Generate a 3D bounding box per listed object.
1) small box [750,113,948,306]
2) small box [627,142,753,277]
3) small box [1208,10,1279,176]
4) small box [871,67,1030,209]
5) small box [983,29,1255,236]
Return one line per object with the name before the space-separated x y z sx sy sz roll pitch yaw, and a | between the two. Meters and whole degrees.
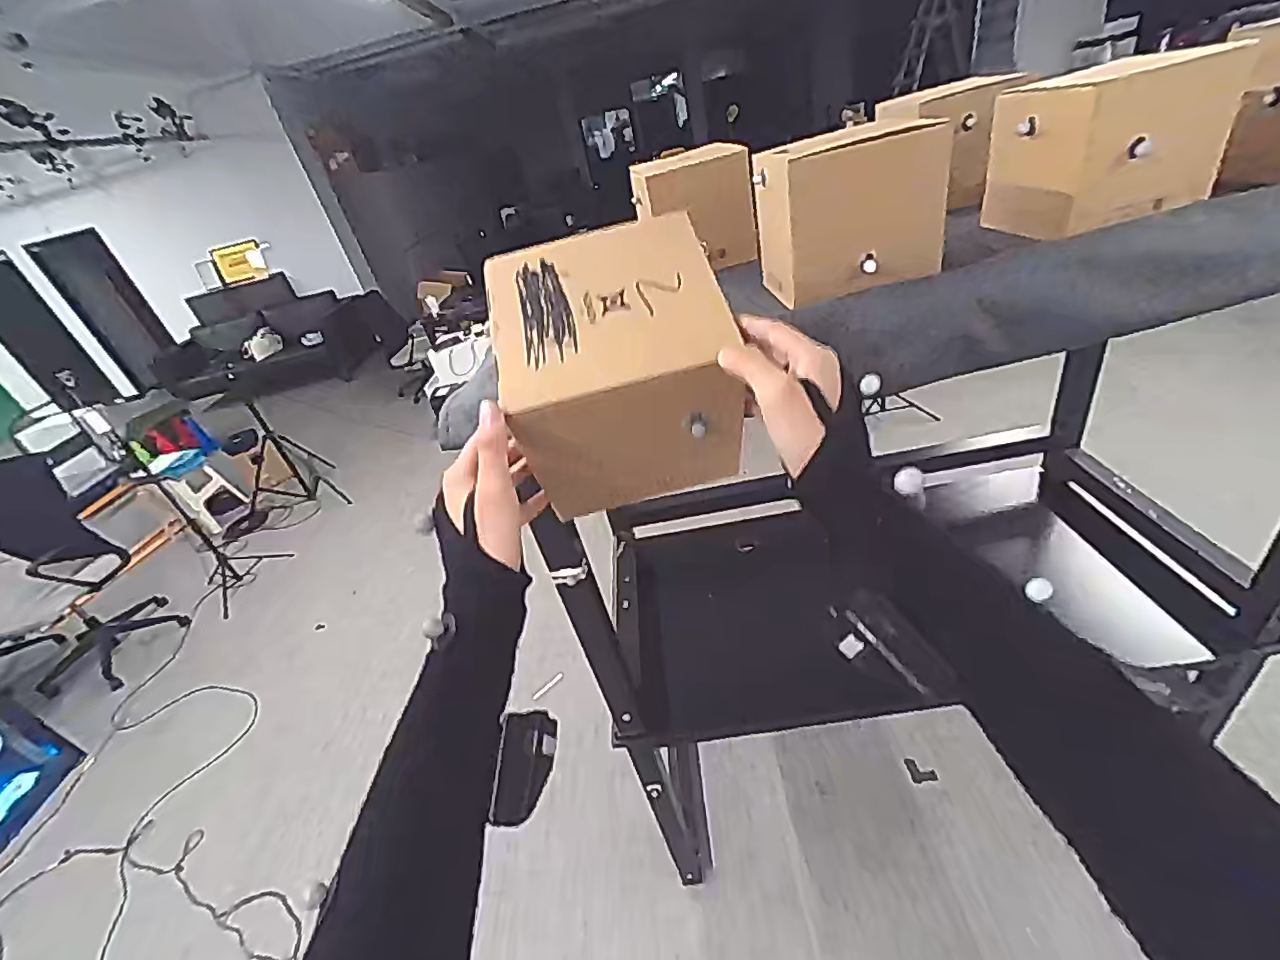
small box | 0.243 -0.331 0.665 0.179 0.176 0.168 -11 32 4
small box | 0.083 -0.461 0.926 0.168 0.176 0.179 -16 33 0
small box | 0.825 -0.466 0.631 0.168 0.176 0.179 -15 31 1
small box | 0.505 -0.560 0.905 0.179 0.176 0.168 -12 34 5
small box | 0.558 -0.412 0.663 0.168 0.176 0.179 -13 32 4
